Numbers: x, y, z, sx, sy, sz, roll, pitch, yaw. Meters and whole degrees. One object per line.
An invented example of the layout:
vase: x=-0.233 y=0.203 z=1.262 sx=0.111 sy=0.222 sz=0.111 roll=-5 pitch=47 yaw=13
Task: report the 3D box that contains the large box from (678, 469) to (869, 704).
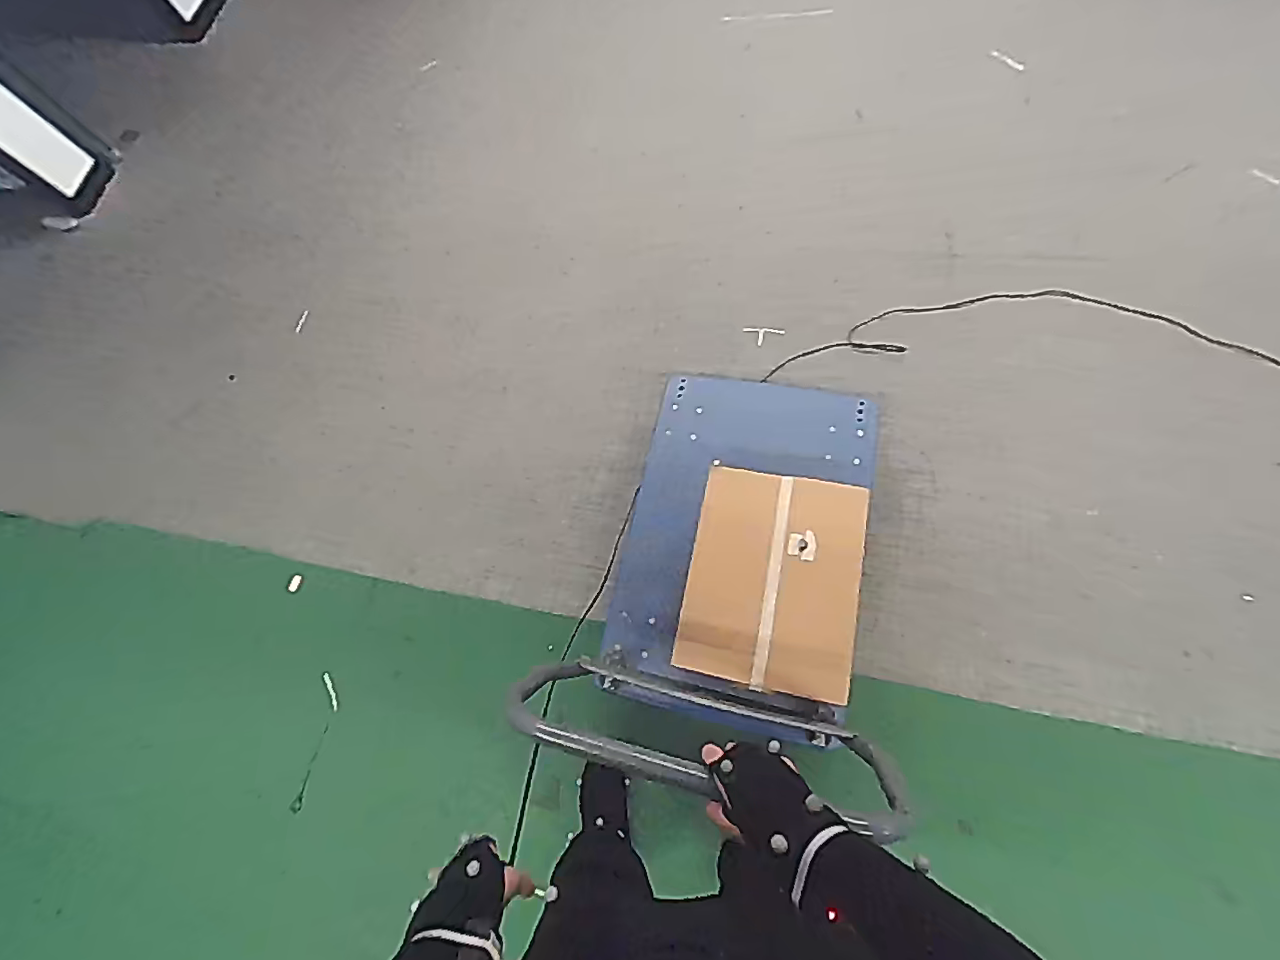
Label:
large box: x=0.282 y=0.236 z=1.157 sx=0.320 sy=0.320 sz=0.408 roll=10 pitch=71 yaw=13
